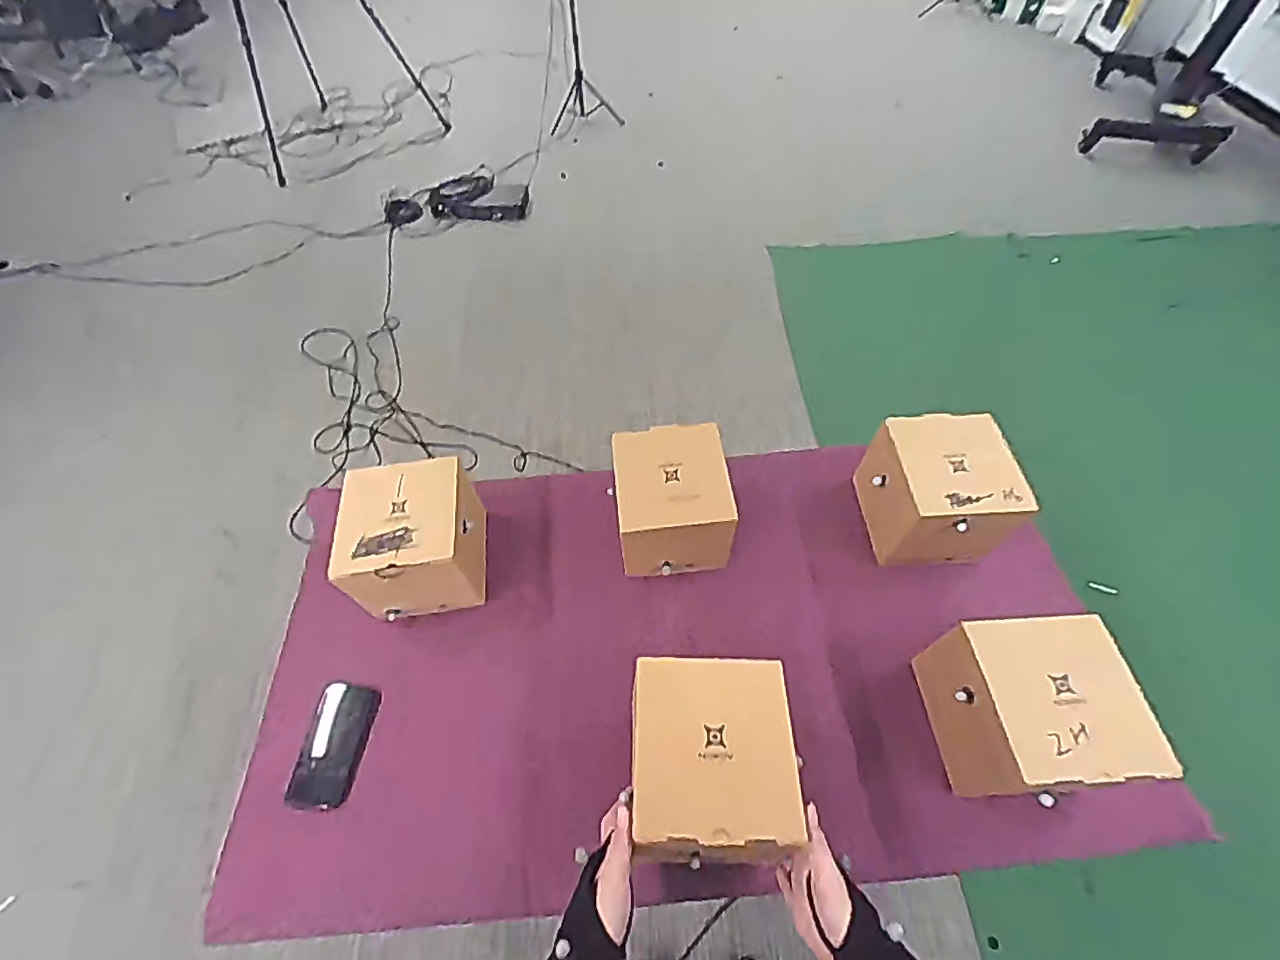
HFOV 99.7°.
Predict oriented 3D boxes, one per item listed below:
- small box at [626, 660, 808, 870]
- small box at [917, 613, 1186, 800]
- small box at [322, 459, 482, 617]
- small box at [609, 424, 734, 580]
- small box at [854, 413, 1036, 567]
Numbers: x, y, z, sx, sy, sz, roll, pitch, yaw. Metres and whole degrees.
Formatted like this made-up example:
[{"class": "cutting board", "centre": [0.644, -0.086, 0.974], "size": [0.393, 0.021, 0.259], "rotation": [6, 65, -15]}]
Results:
[{"class": "small box", "centre": [0.070, 0.319, 0.602], "size": [0.168, 0.176, 0.179], "rotation": [2, 51, -1]}, {"class": "small box", "centre": [0.469, 0.278, 0.657], "size": [0.168, 0.176, 0.179], "rotation": [-4, 55, 1]}, {"class": "small box", "centre": [-0.342, 0.095, 0.817], "size": [0.168, 0.176, 0.179], "rotation": [-8, 55, -4]}, {"class": "small box", "centre": [0.042, 0.037, 0.844], "size": [0.168, 0.176, 0.179], "rotation": [-6, 57, -1]}, {"class": "small box", "centre": [0.453, 0.018, 0.840], "size": [0.168, 0.176, 0.179], "rotation": [-3, 55, 1]}]
